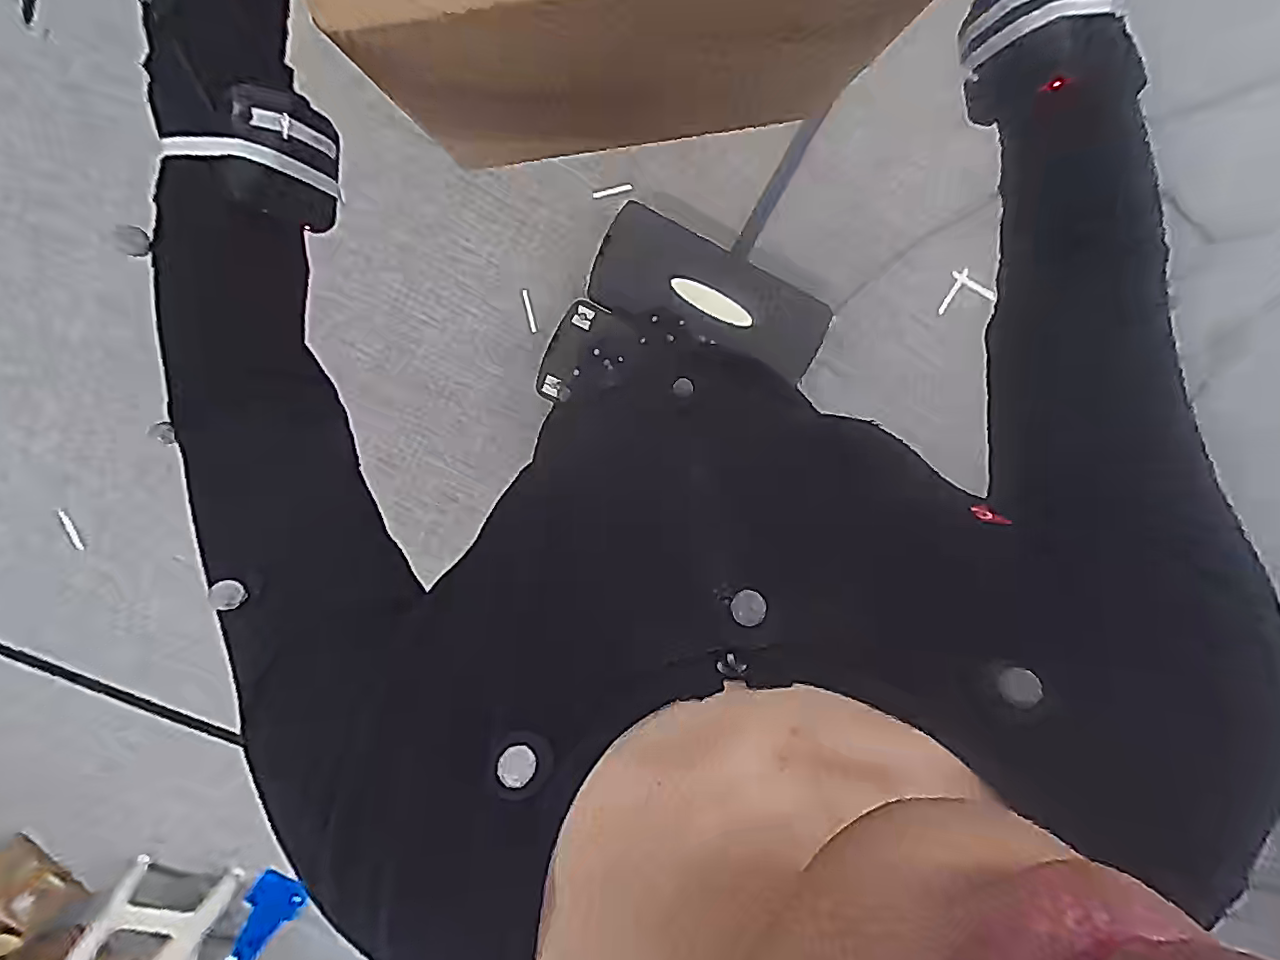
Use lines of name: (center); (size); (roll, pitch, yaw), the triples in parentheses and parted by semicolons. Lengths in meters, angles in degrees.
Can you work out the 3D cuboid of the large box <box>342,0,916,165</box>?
large box: (-0.012, -0.484, 0.422); (0.408, 0.320, 0.320); (-9, 107, -1)
